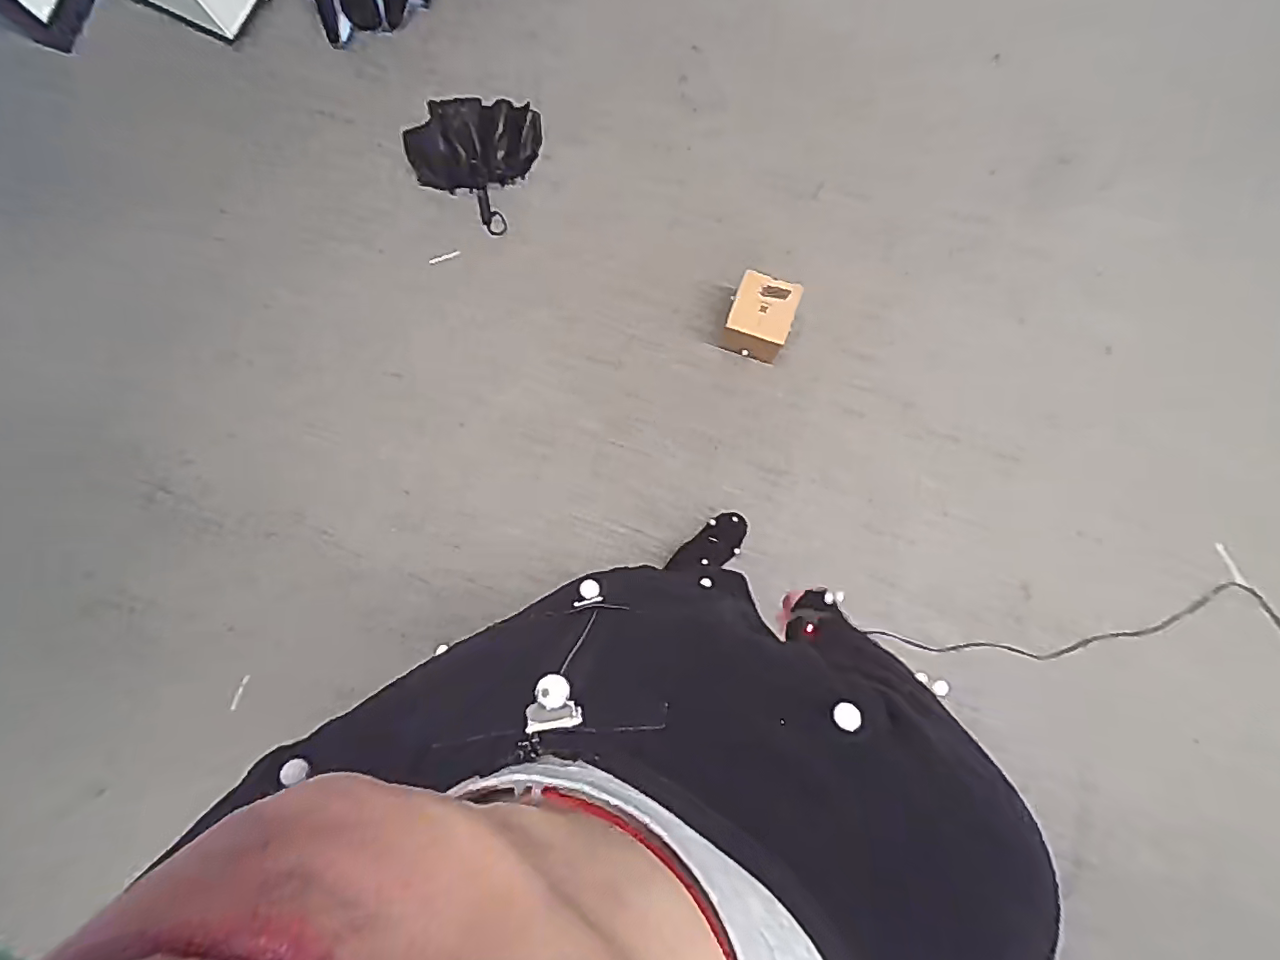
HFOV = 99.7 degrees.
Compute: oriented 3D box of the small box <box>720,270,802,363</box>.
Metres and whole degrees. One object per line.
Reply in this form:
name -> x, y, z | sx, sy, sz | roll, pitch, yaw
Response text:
small box -> 0.333, -0.456, 1.528 | 0.168, 0.176, 0.179 | 20, 87, 4
